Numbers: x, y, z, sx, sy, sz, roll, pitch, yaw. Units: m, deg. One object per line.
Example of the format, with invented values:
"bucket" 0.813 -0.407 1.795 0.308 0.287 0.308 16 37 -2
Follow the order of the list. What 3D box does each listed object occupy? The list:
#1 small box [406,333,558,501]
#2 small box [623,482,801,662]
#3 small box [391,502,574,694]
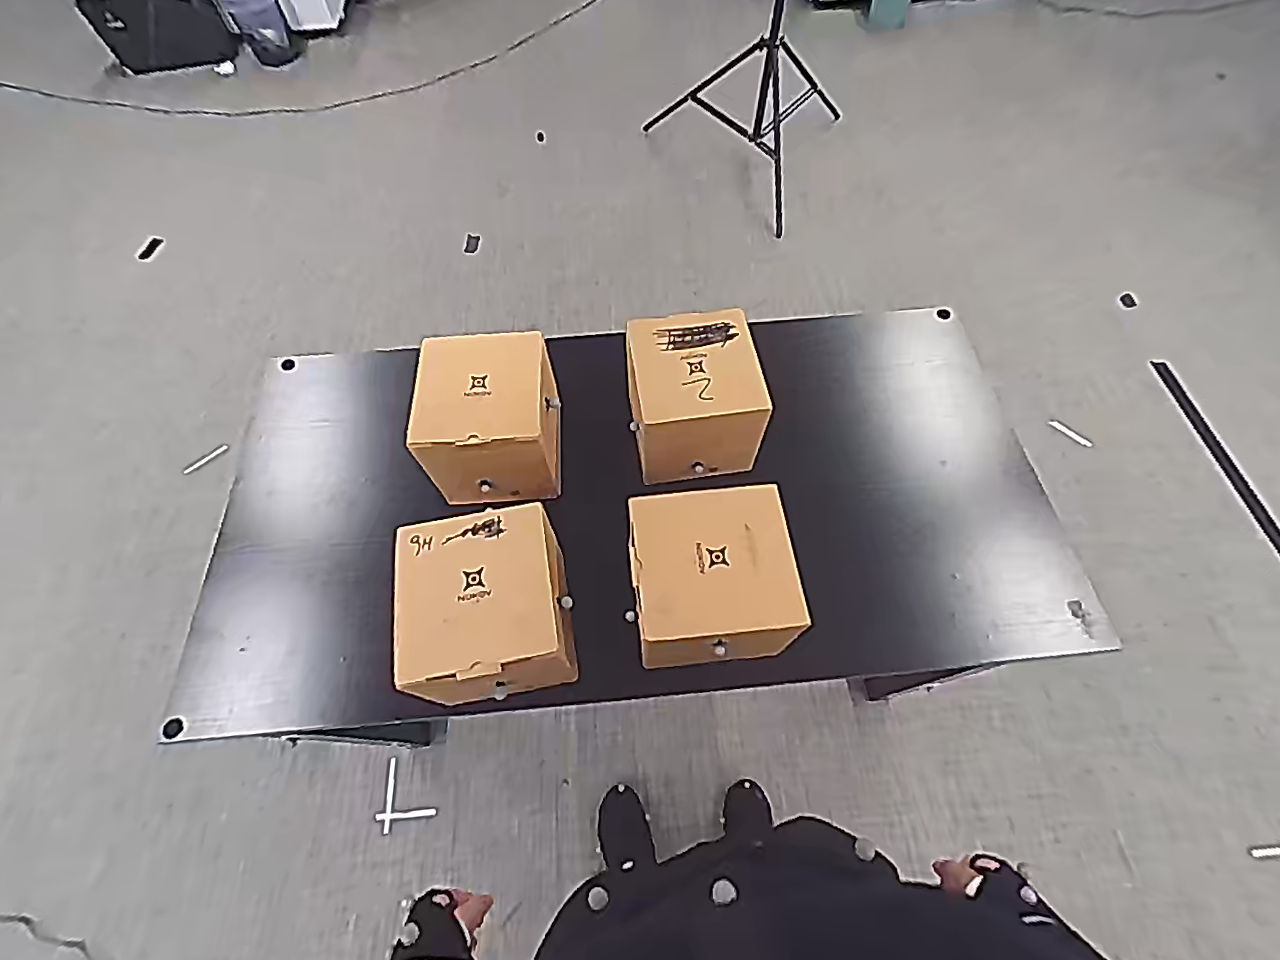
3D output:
"small box" -0.212 -0.086 0.778 0.168 0.176 0.179 -4 62 -1
"small box" 0.076 0.119 0.662 0.179 0.176 0.168 -6 62 -3
"small box" -0.179 0.150 0.649 0.168 0.176 0.179 -11 62 -4
